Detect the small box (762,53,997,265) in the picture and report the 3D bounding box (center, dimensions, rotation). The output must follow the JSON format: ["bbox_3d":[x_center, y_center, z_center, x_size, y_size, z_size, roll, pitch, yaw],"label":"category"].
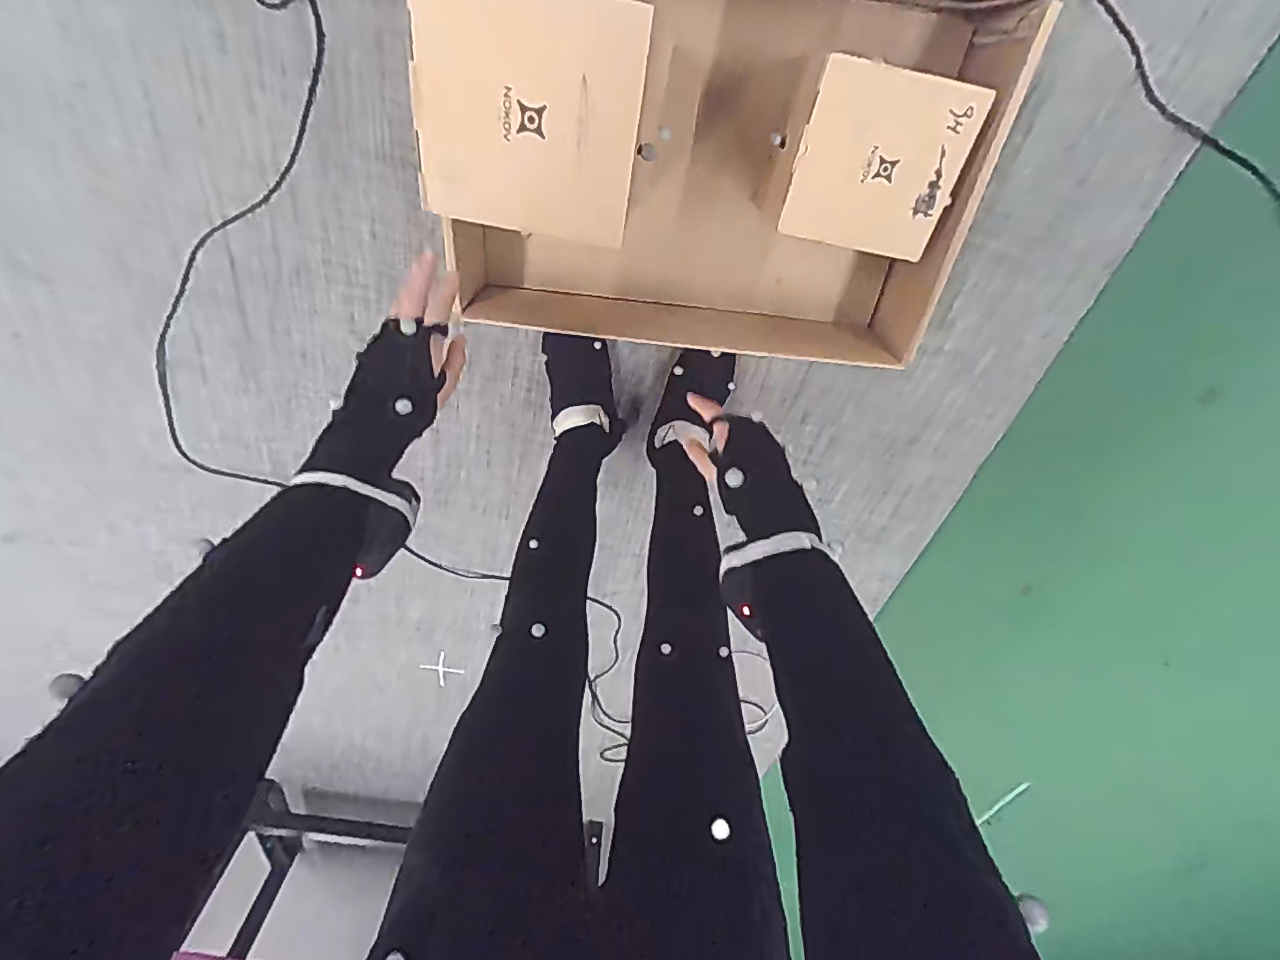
[{"bbox_3d":[0.257,-0.375,0.638,0.179,0.176,0.168,11,125,-5],"label":"small box"}]

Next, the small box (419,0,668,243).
[{"bbox_3d":[-0.078,-0.331,0.482,0.179,0.176,0.168,10,126,-5],"label":"small box"}]
